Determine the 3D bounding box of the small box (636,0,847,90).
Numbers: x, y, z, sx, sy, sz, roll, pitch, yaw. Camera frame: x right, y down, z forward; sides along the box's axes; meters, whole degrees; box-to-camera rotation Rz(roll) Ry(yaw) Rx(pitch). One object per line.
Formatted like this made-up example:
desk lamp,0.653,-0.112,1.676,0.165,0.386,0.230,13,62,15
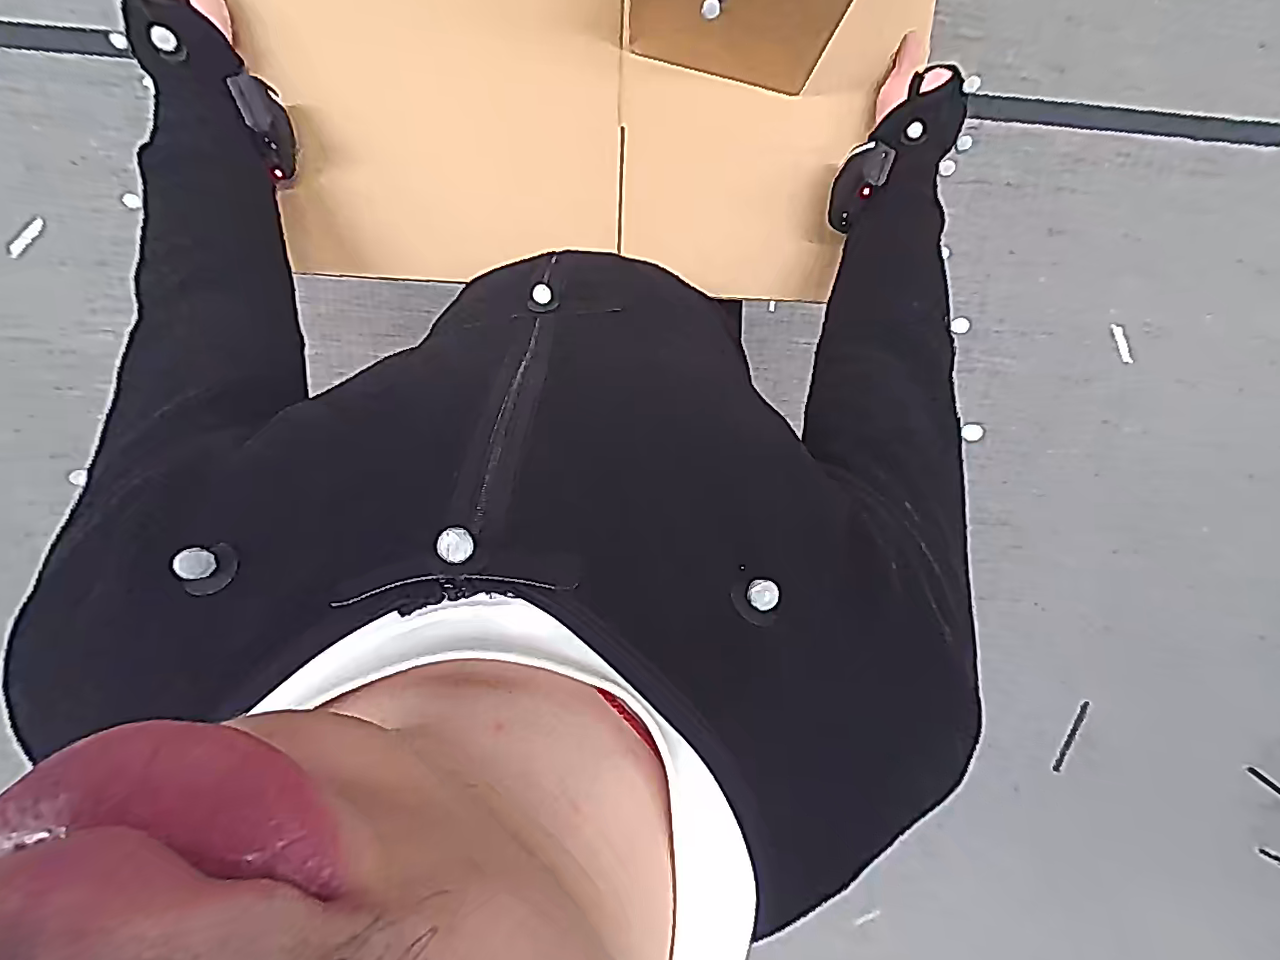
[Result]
small box,0.096,-0.465,0.444,0.179,0.176,0.168,13,100,-2
